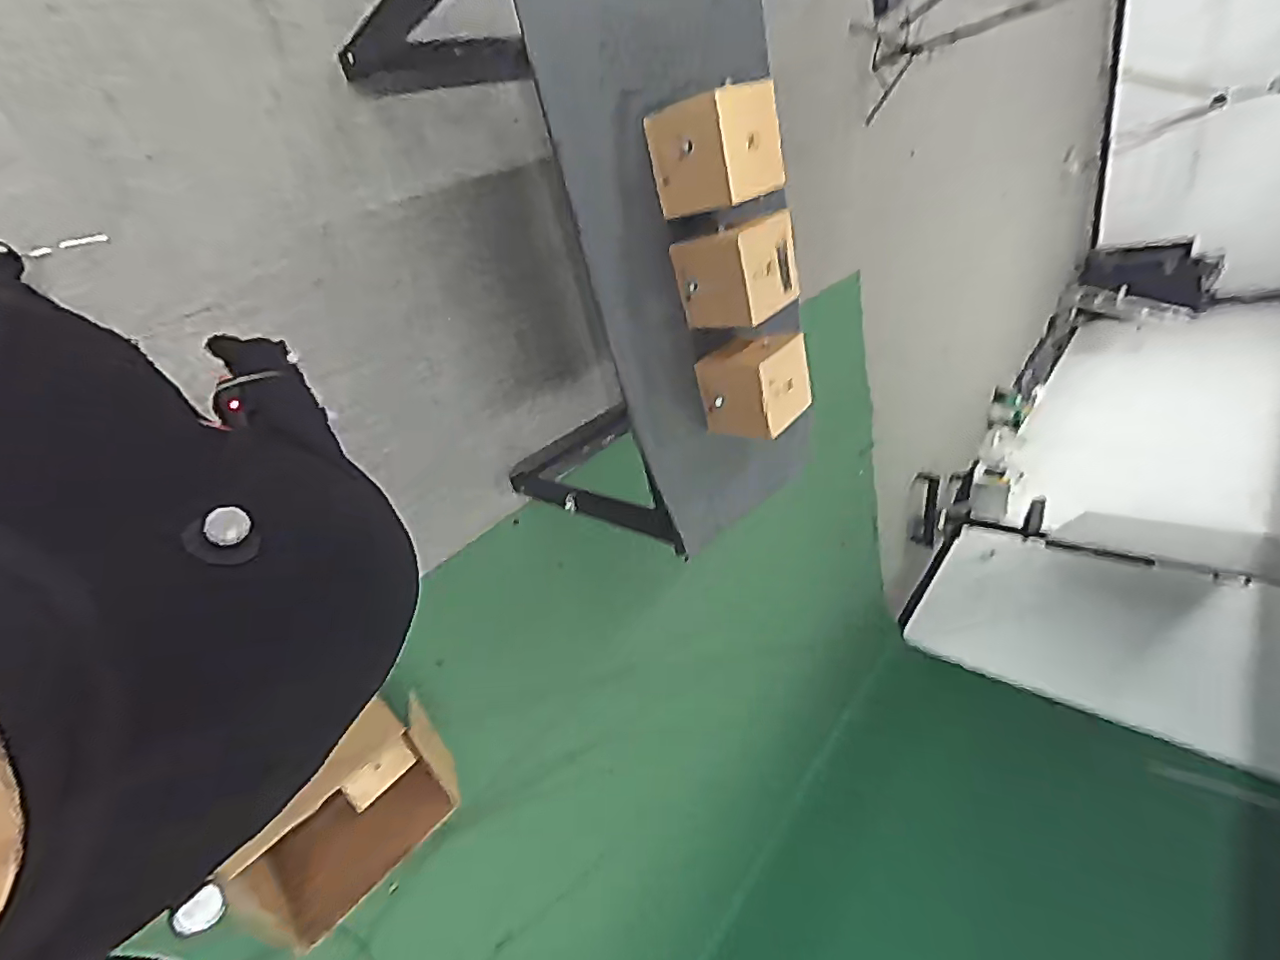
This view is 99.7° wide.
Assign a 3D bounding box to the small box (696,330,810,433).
[{"bbox_3d":[0.249,-0.223,1.189,0.179,0.176,0.168,-38,124,-33],"label":"small box"}]
